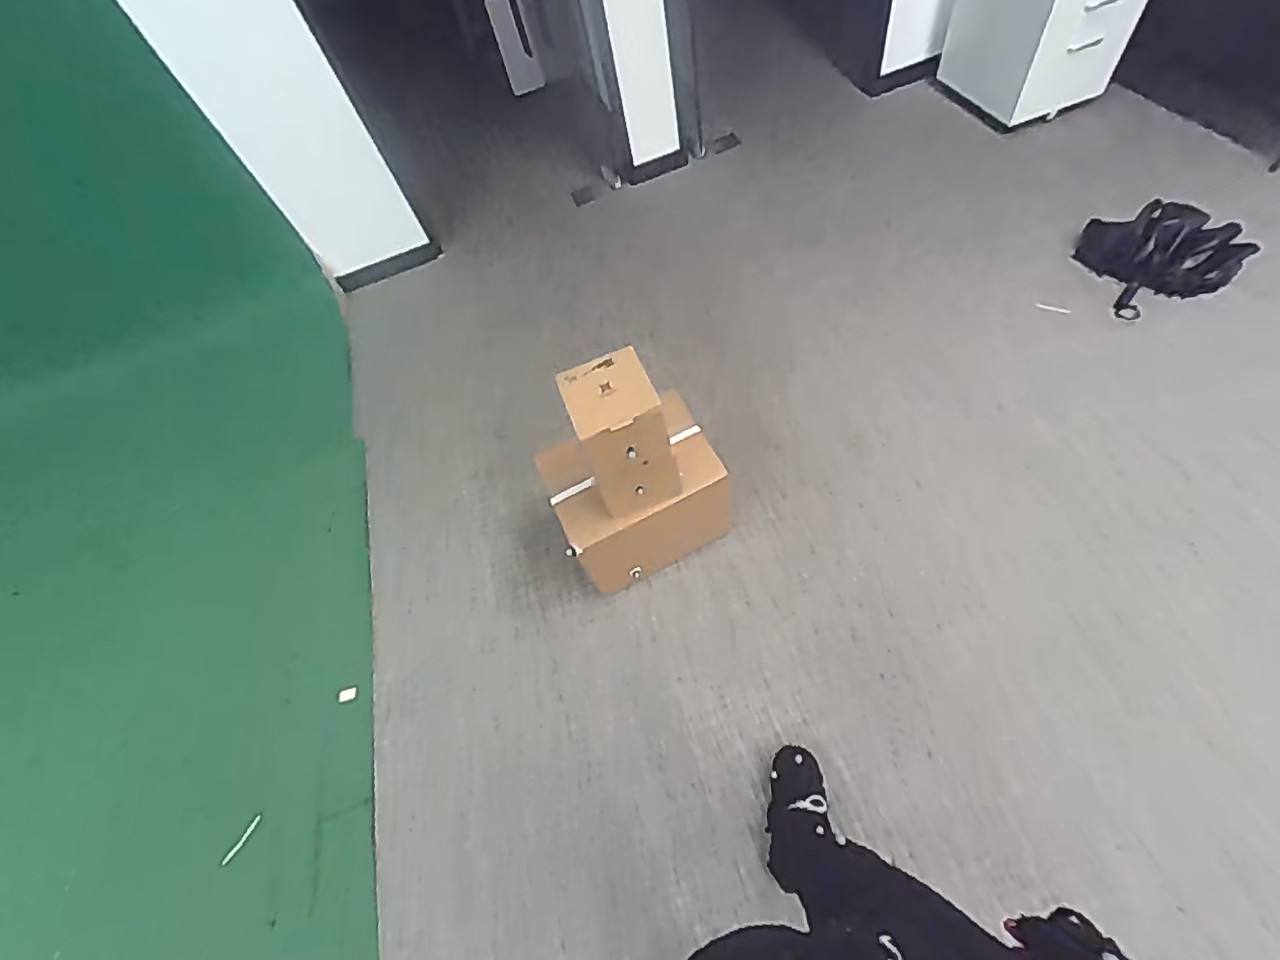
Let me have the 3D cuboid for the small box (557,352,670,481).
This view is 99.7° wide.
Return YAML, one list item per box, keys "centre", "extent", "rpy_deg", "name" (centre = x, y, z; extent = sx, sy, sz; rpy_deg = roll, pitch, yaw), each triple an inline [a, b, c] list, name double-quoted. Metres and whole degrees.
- centre: [-0.048, -0.119, 1.097]
  extent: [0.168, 0.176, 0.179]
  rpy_deg: [-22, 58, -2]
  name: "small box"

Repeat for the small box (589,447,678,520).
- centre: [-0.020, -0.036, 1.234]
  extent: [0.179, 0.176, 0.168]
  rpy_deg: [-22, 58, -1]
  name: "small box"
